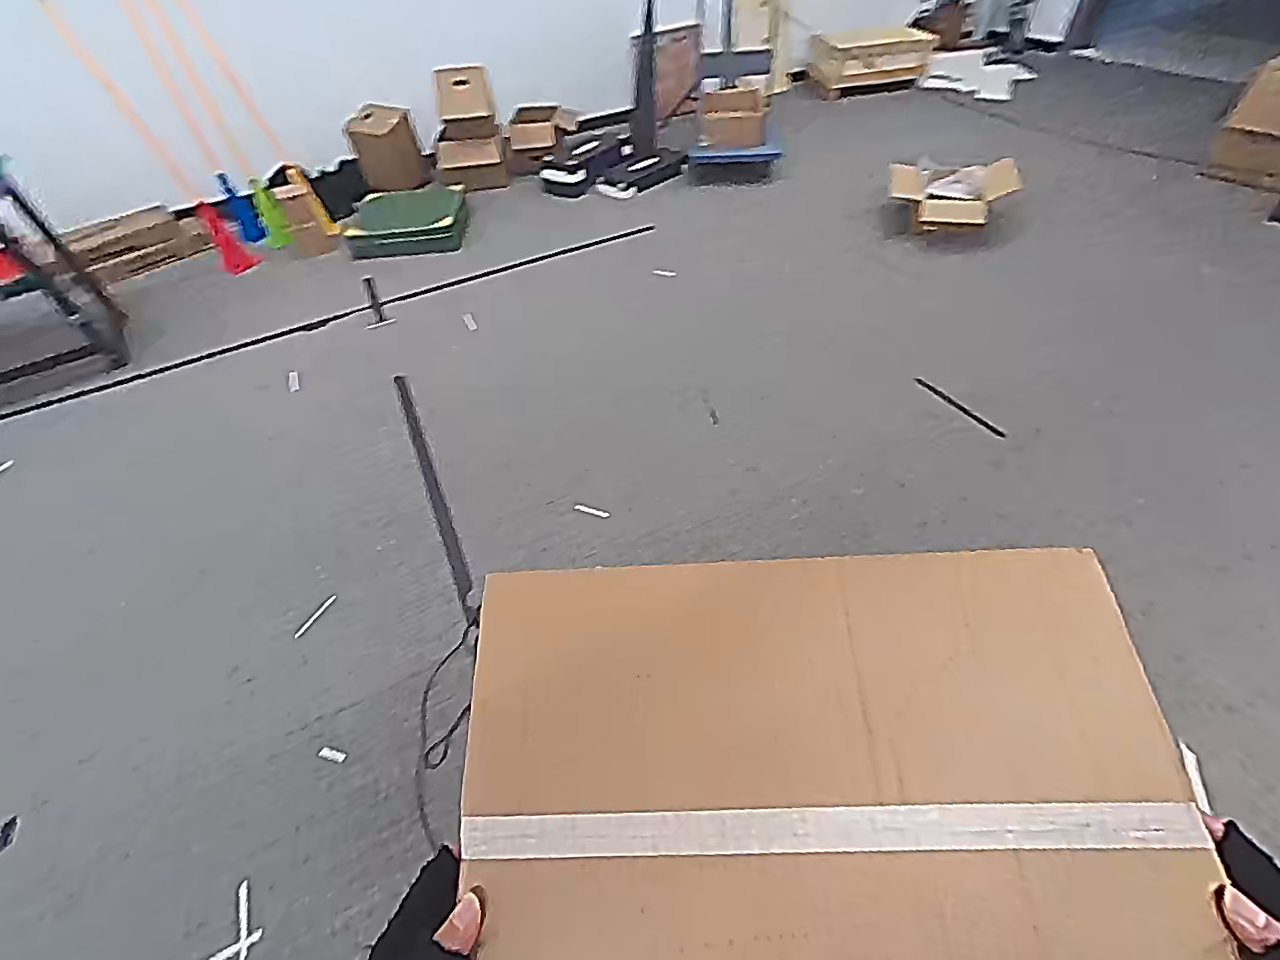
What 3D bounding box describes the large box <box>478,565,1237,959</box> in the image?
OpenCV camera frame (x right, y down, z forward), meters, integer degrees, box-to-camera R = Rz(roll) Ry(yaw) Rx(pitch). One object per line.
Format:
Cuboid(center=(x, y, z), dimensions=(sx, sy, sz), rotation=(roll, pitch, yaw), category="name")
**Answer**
Cuboid(center=(0.115, 0.274, 0.444), dimensions=(0.408, 0.320, 0.320), rotation=(-4, 66, 3), category="large box")
